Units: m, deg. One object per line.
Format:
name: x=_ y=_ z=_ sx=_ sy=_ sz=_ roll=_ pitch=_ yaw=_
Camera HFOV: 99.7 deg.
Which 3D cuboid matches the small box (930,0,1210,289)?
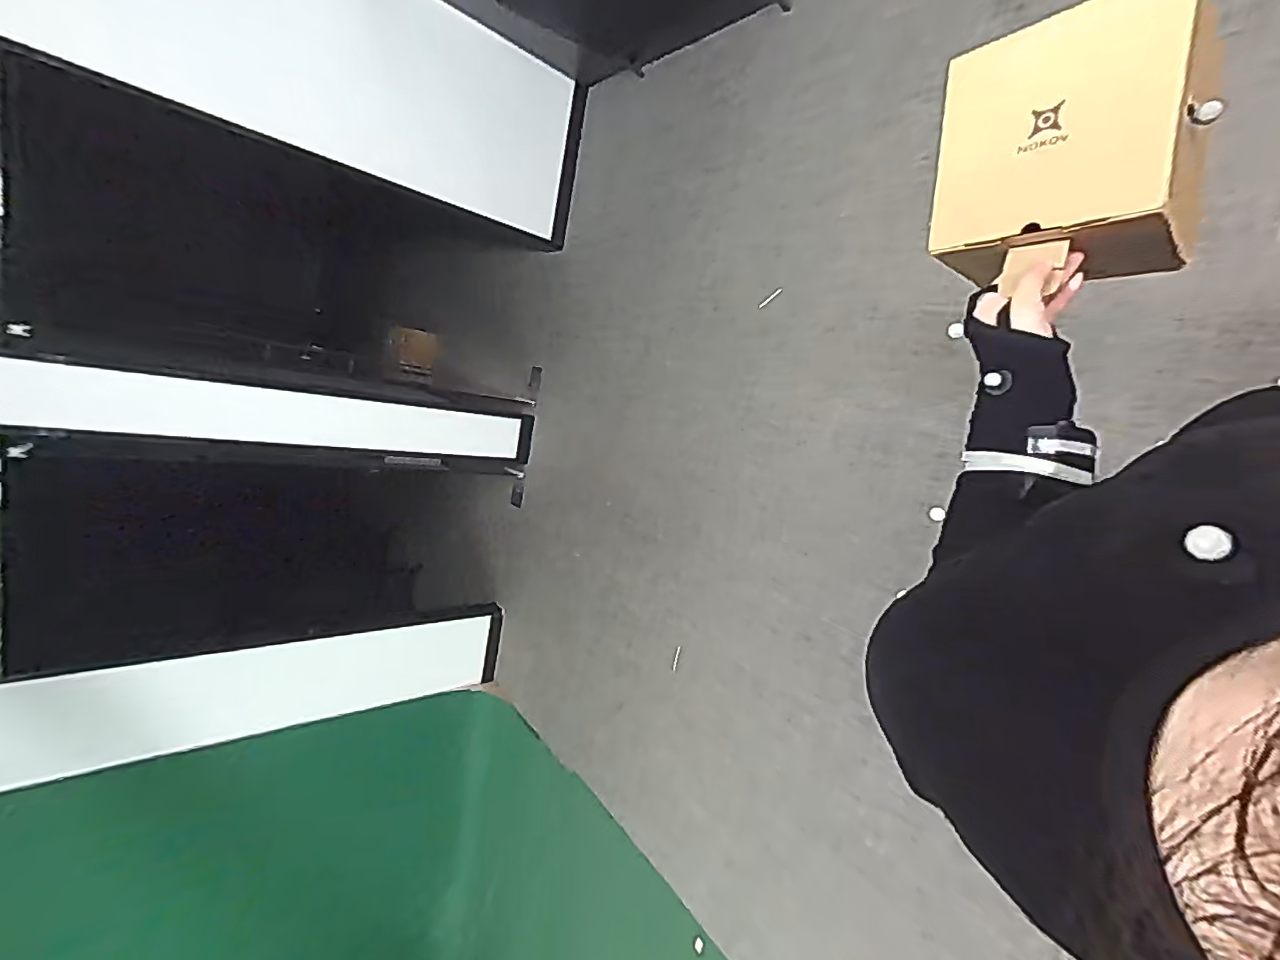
small box: x=0.397 y=-0.293 z=0.502 sx=0.168 sy=0.176 sz=0.179 roll=11 pitch=100 yaw=48
